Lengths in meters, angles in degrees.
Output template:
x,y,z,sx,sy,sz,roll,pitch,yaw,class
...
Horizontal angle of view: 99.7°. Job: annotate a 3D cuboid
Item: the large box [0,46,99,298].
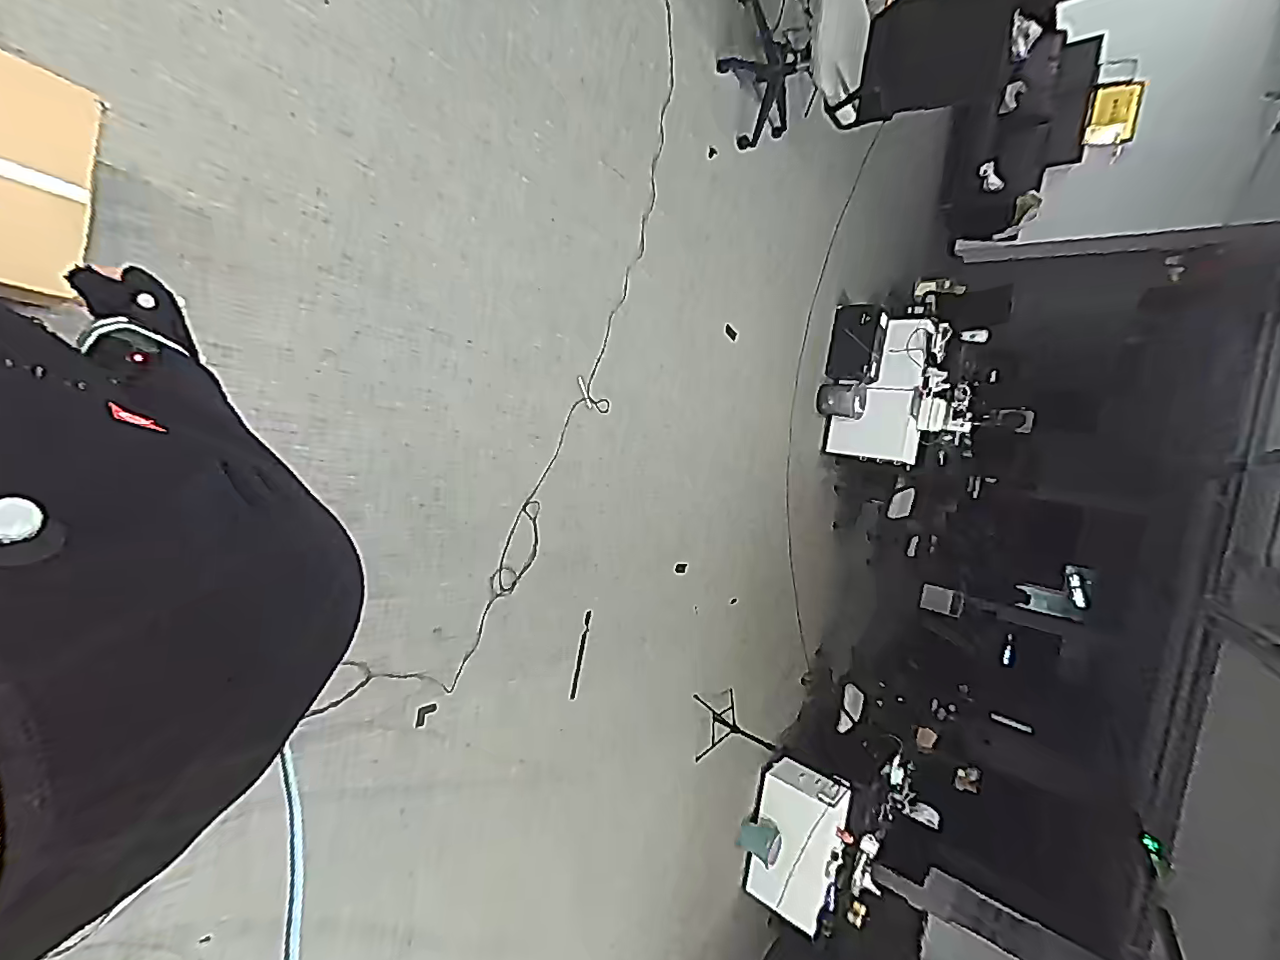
x,y,z,sx,sy,sz,roll,pitch,yaw,class
-1.083,-0.476,0.757,0.408,0.320,0.320,7,95,-54,large box
